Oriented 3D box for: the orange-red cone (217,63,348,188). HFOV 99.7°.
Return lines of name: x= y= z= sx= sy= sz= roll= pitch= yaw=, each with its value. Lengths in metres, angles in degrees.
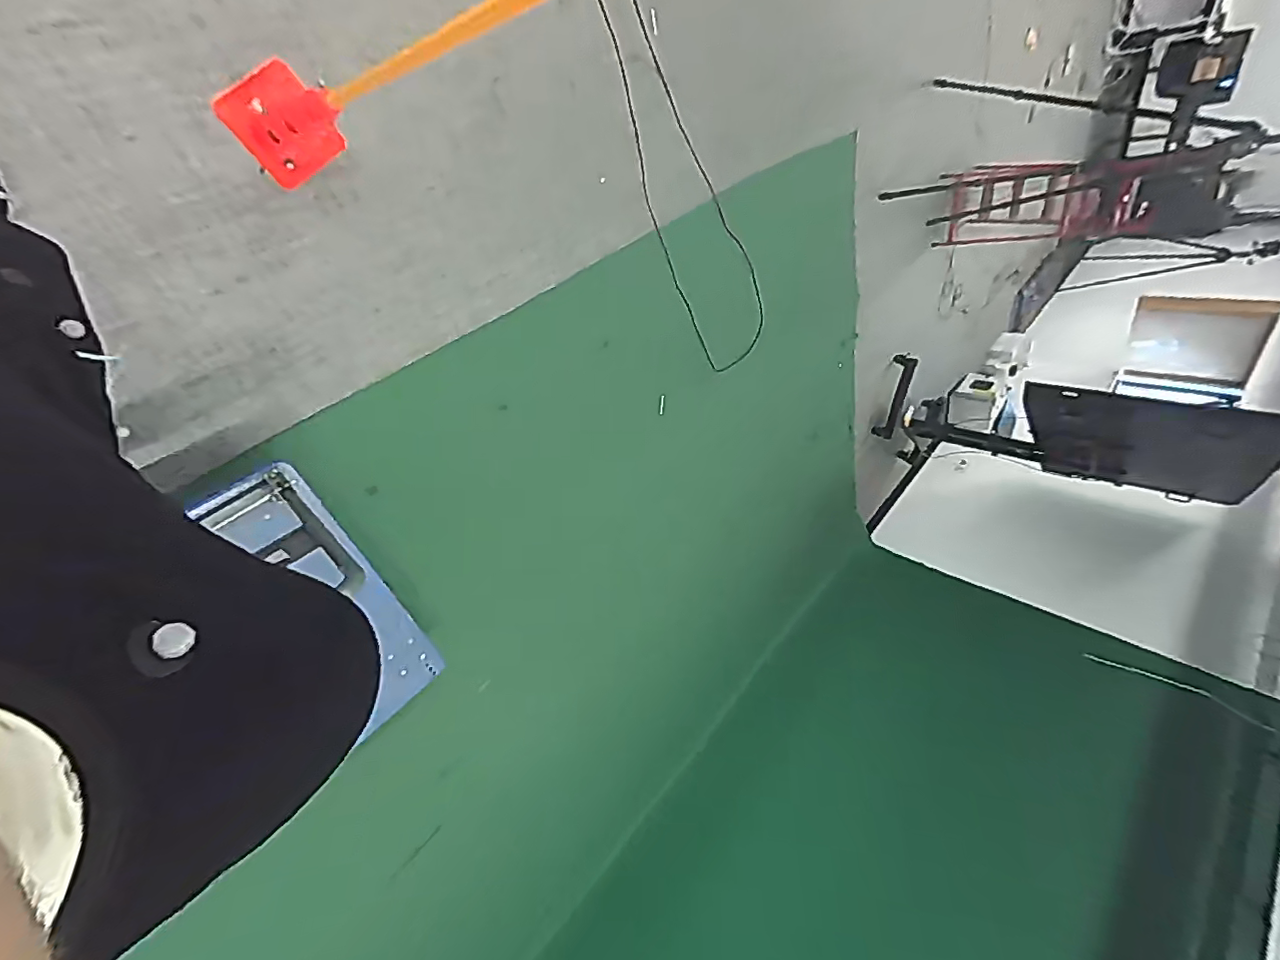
orange-red cone: x=-0.690 y=-0.758 z=1.125 sx=0.199 sy=0.360 sz=0.198 roll=-52 pitch=137 yaw=-18
